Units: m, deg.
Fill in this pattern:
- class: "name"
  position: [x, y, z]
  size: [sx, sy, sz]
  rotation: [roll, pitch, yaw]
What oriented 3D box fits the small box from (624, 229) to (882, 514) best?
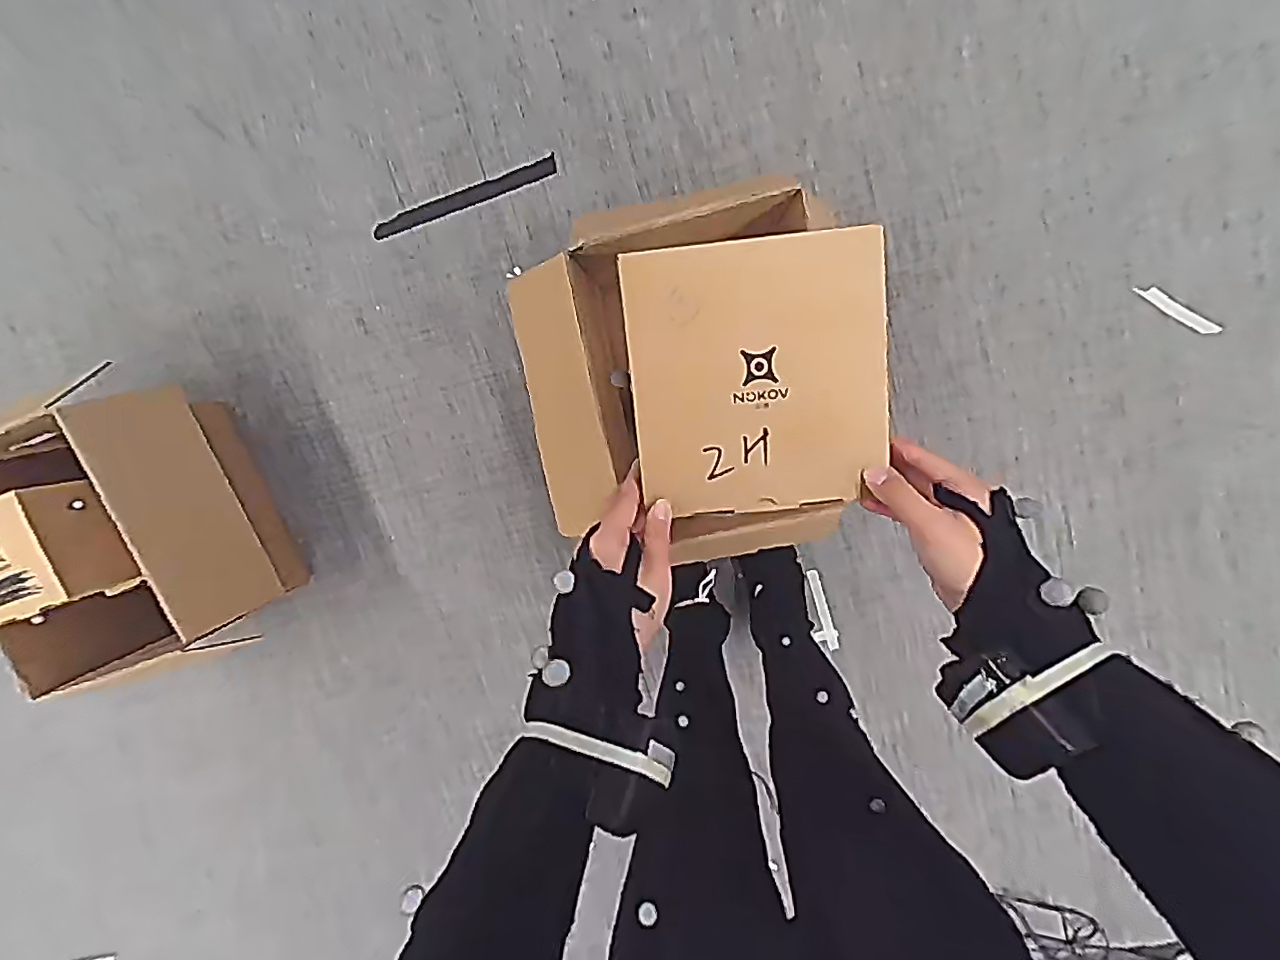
- class: "small box"
  position: [0.078, -0.080, 0.437]
  size: [0.168, 0.176, 0.179]
  rotation: [-5, 100, 3]
